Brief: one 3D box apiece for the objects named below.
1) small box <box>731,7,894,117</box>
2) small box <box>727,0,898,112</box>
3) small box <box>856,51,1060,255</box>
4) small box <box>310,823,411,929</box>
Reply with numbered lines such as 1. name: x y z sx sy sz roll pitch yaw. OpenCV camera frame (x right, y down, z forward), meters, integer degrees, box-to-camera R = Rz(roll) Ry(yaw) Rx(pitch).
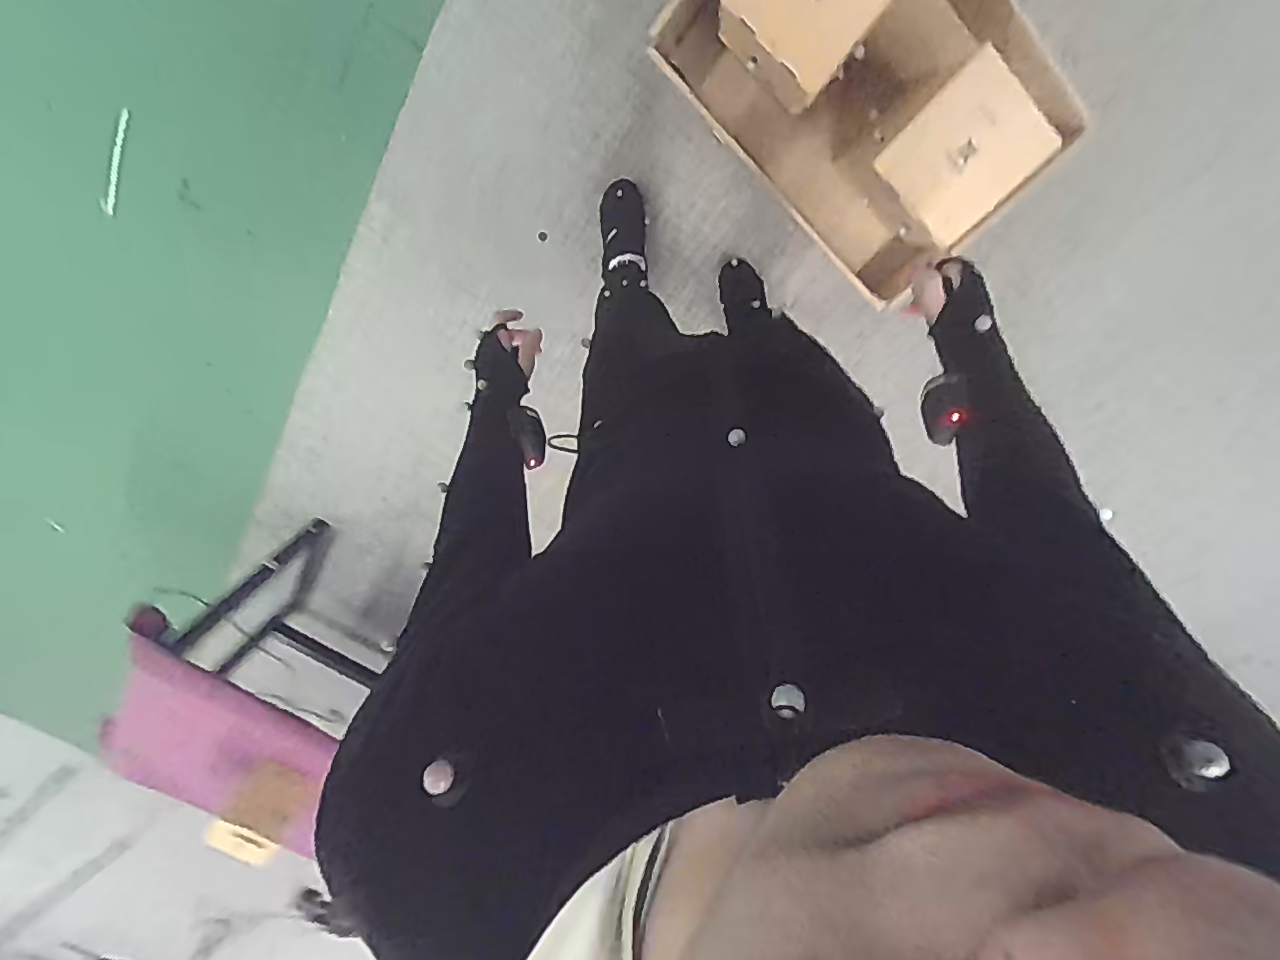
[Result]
1. small box: 0.259 -0.717 0.862 0.179 0.176 0.168 39 116 -13
2. small box: 0.229 -0.637 0.722 0.168 0.176 0.179 39 116 -13
3. small box: 0.438 -0.457 0.784 0.168 0.176 0.179 41 114 -14
4. small box: -0.785 1.120 1.534 0.168 0.176 0.179 36 117 -11
